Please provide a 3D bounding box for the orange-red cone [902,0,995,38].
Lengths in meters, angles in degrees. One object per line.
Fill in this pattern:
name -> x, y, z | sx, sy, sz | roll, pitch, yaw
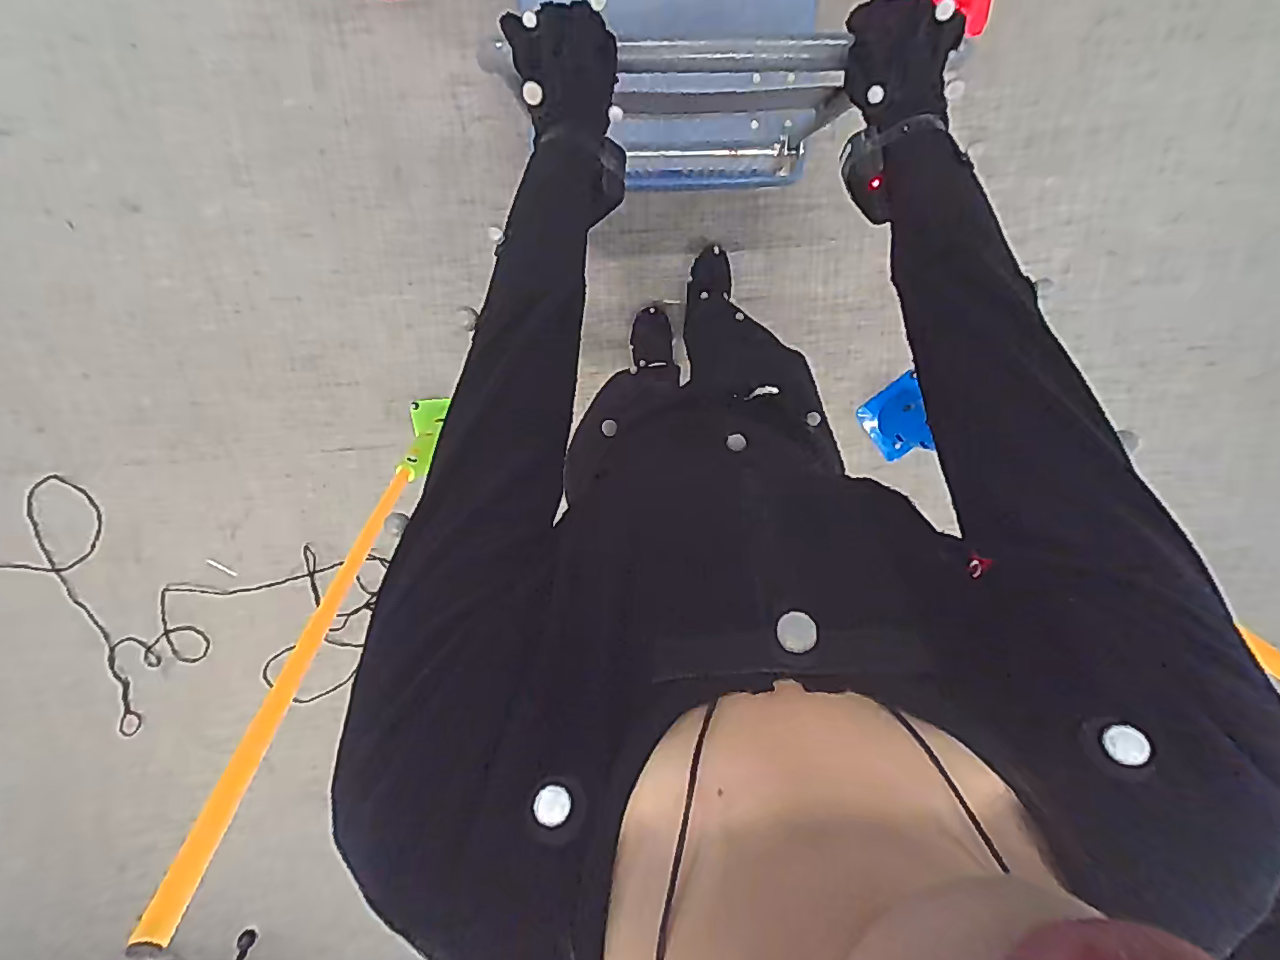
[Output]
orange-red cone -> 0.688, -1.035, 1.016 | 0.198, 0.360, 0.199 | 7, 109, -3
